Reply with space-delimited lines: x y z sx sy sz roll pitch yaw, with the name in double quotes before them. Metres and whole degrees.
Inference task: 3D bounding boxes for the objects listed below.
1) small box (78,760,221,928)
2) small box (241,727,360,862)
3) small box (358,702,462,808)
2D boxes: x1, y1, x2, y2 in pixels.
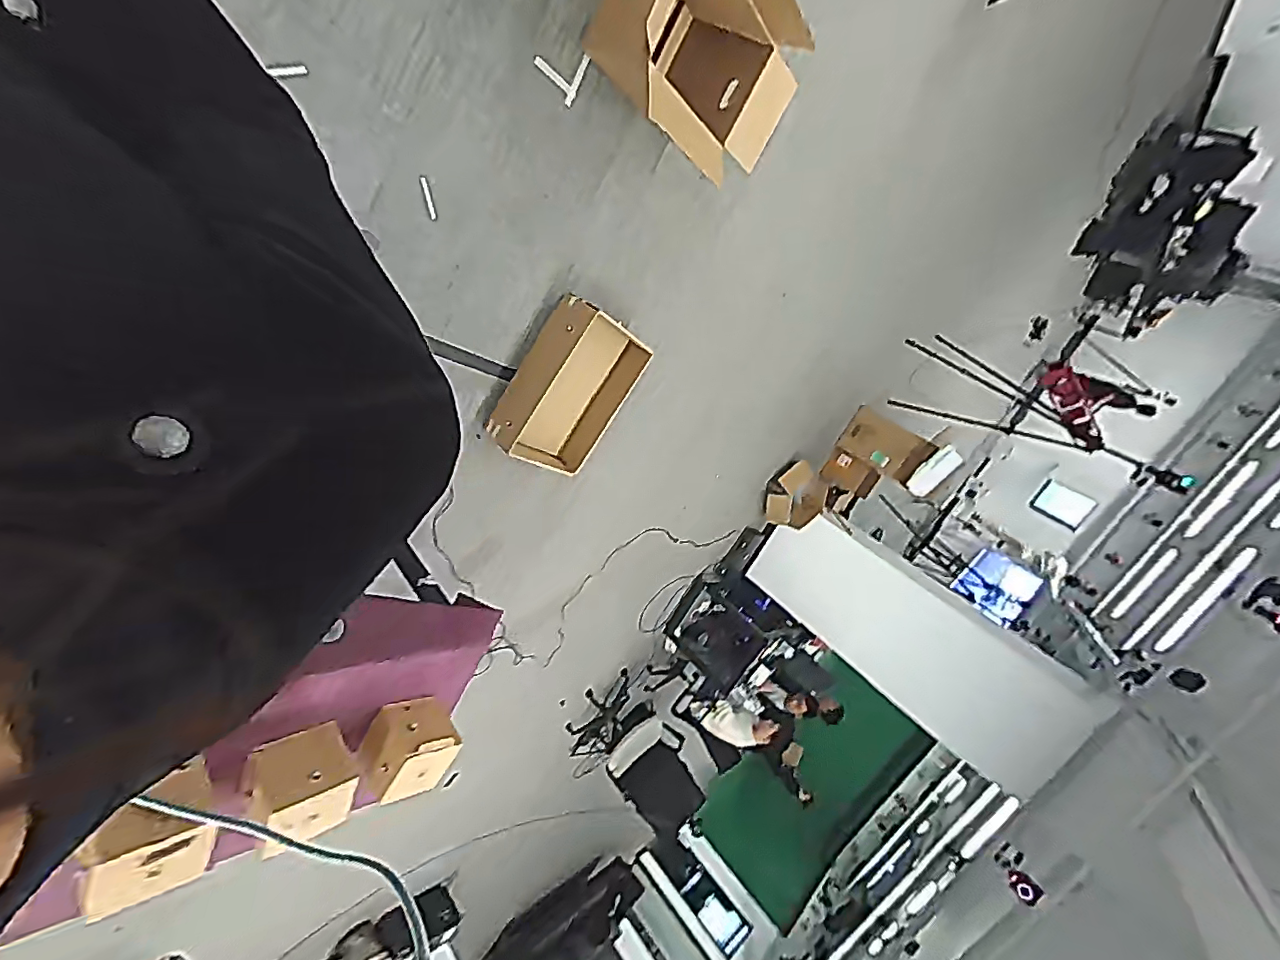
"small box" -0.914 0.655 1.003 0.168 0.176 0.179 3 121 -52
"small box" -0.769 0.697 1.222 0.179 0.176 0.168 -3 124 -49
"small box" -0.612 0.711 1.430 0.168 0.176 0.179 18 108 -55
